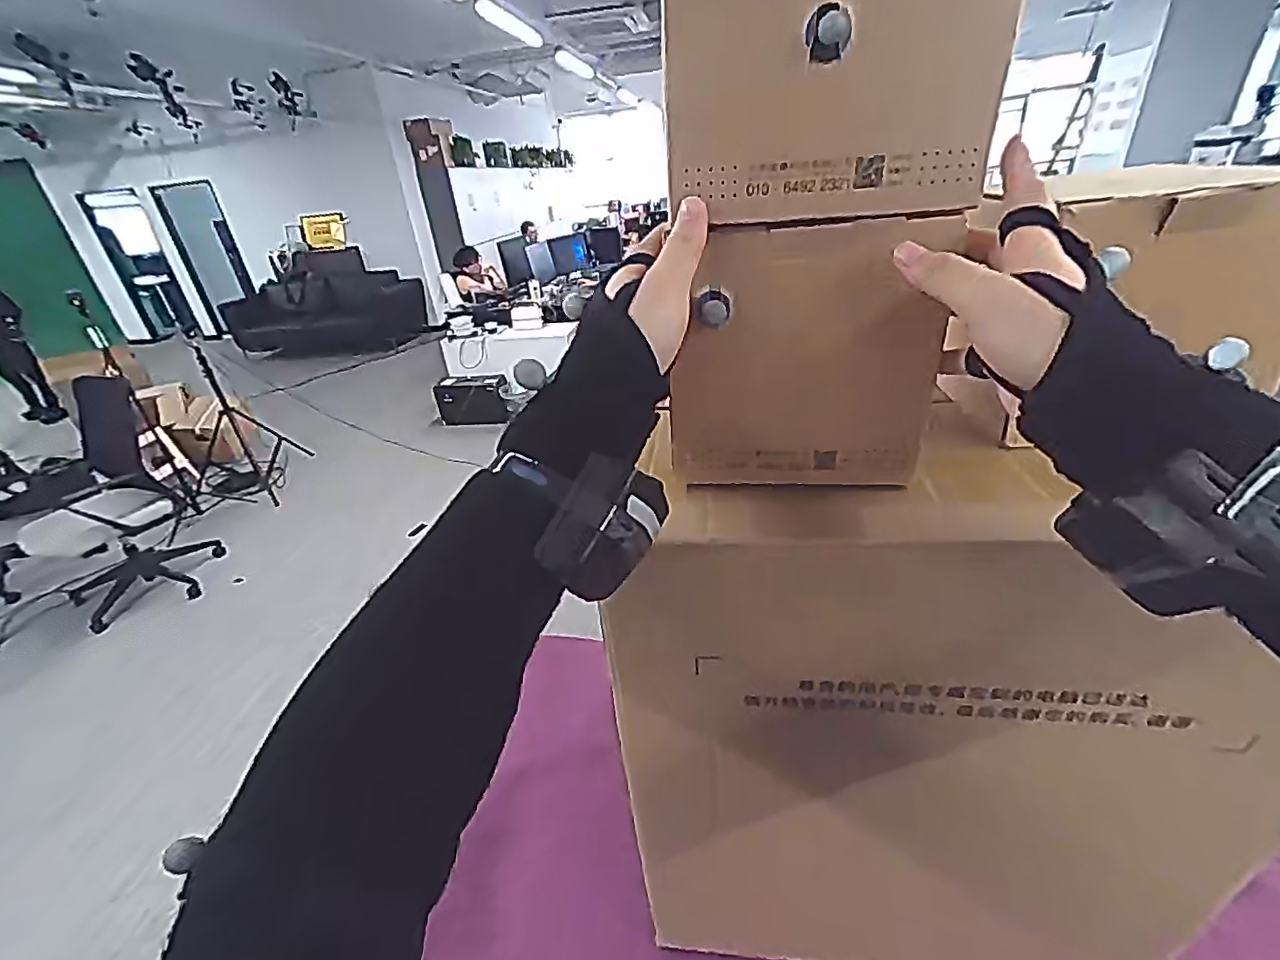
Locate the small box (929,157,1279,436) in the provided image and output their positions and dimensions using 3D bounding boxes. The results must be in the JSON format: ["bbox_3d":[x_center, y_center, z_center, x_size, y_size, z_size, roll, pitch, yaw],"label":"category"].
[{"bbox_3d":[0.349,-0.146,0.424,0.168,0.176,0.179,-3,30,8],"label":"small box"}]

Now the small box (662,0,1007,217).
[{"bbox_3d":[0.098,-0.258,0.327,0.168,0.176,0.179,-1,28,4],"label":"small box"}]
